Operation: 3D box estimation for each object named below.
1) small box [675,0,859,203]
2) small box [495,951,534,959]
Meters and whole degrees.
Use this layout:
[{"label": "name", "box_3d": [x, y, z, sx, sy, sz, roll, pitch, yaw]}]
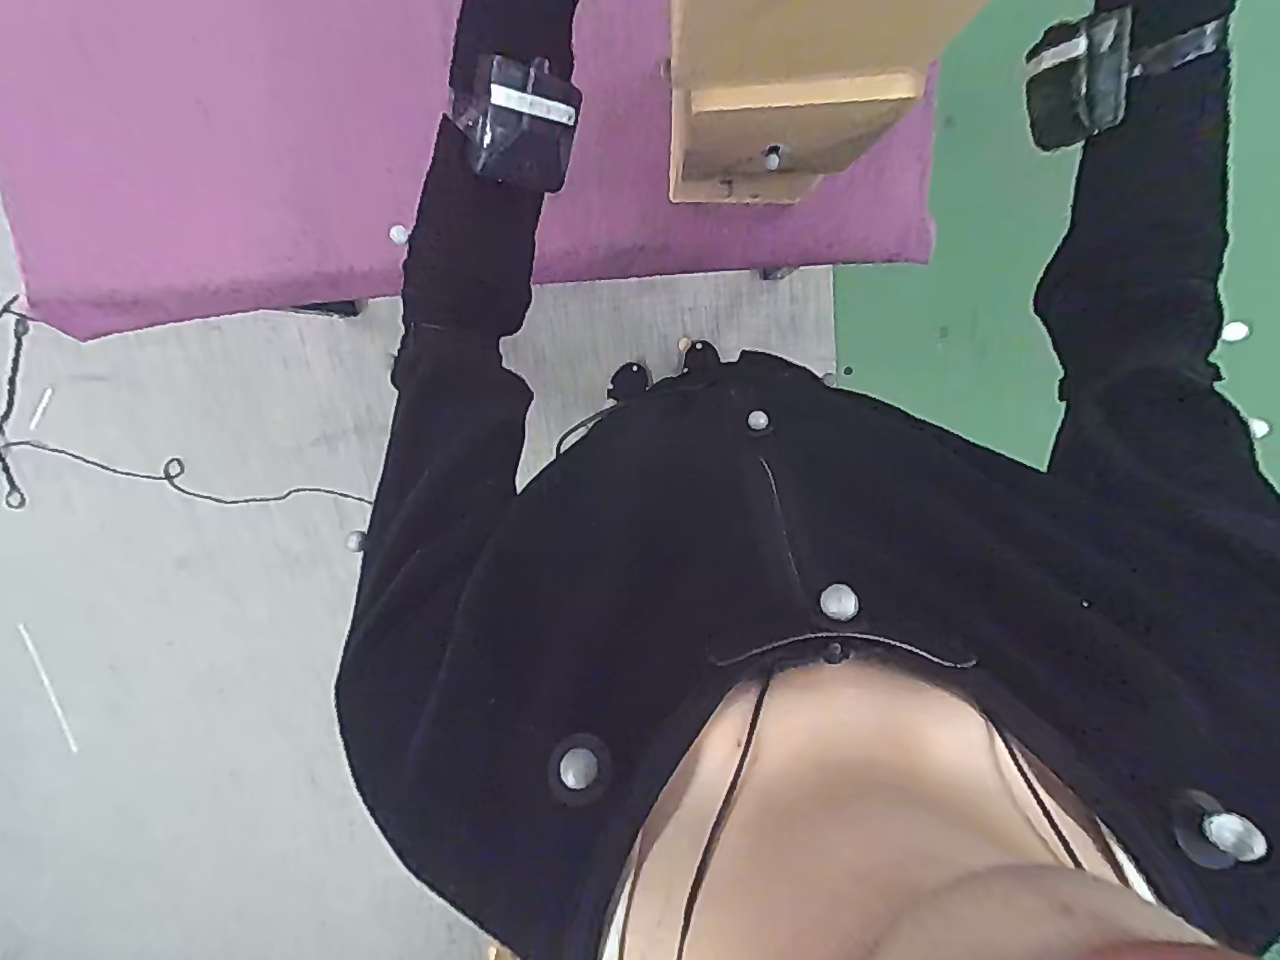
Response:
[{"label": "small box", "box_3d": [0.125, -0.417, 0.595, 0.168, 0.176, 0.179, 1, 103, 2]}, {"label": "small box", "box_3d": [-0.391, 1.586, 1.628, 0.168, 0.176, 0.179, 14, 103, -2]}]
